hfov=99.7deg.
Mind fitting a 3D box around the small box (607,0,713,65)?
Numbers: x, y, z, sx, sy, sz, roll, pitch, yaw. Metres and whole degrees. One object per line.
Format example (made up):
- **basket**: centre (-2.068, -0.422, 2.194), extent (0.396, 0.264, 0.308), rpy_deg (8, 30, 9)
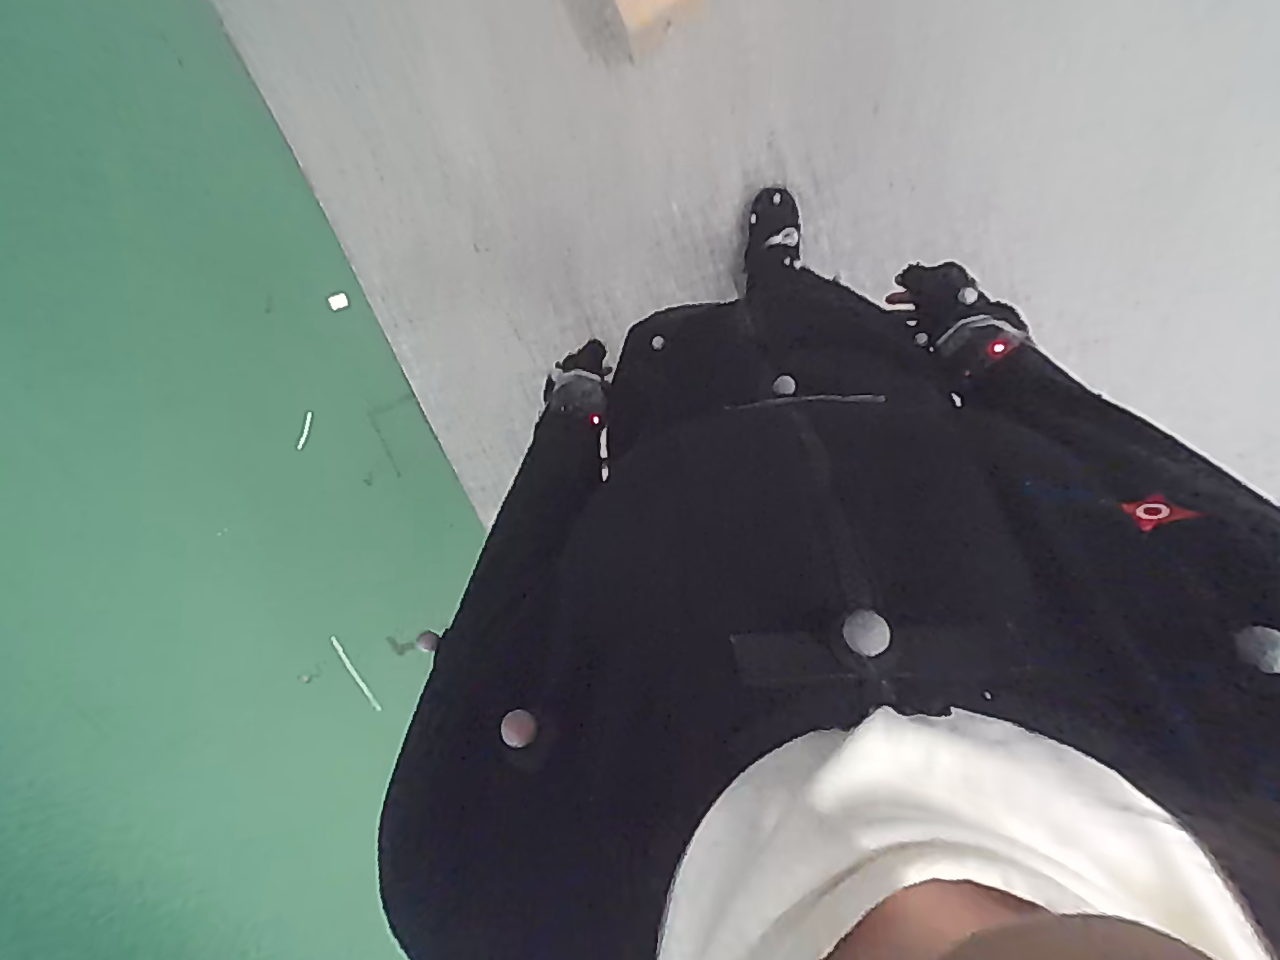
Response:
- **small box**: centre (0.031, -0.948, 1.028), extent (0.179, 0.176, 0.168), rpy_deg (-28, 107, 13)
